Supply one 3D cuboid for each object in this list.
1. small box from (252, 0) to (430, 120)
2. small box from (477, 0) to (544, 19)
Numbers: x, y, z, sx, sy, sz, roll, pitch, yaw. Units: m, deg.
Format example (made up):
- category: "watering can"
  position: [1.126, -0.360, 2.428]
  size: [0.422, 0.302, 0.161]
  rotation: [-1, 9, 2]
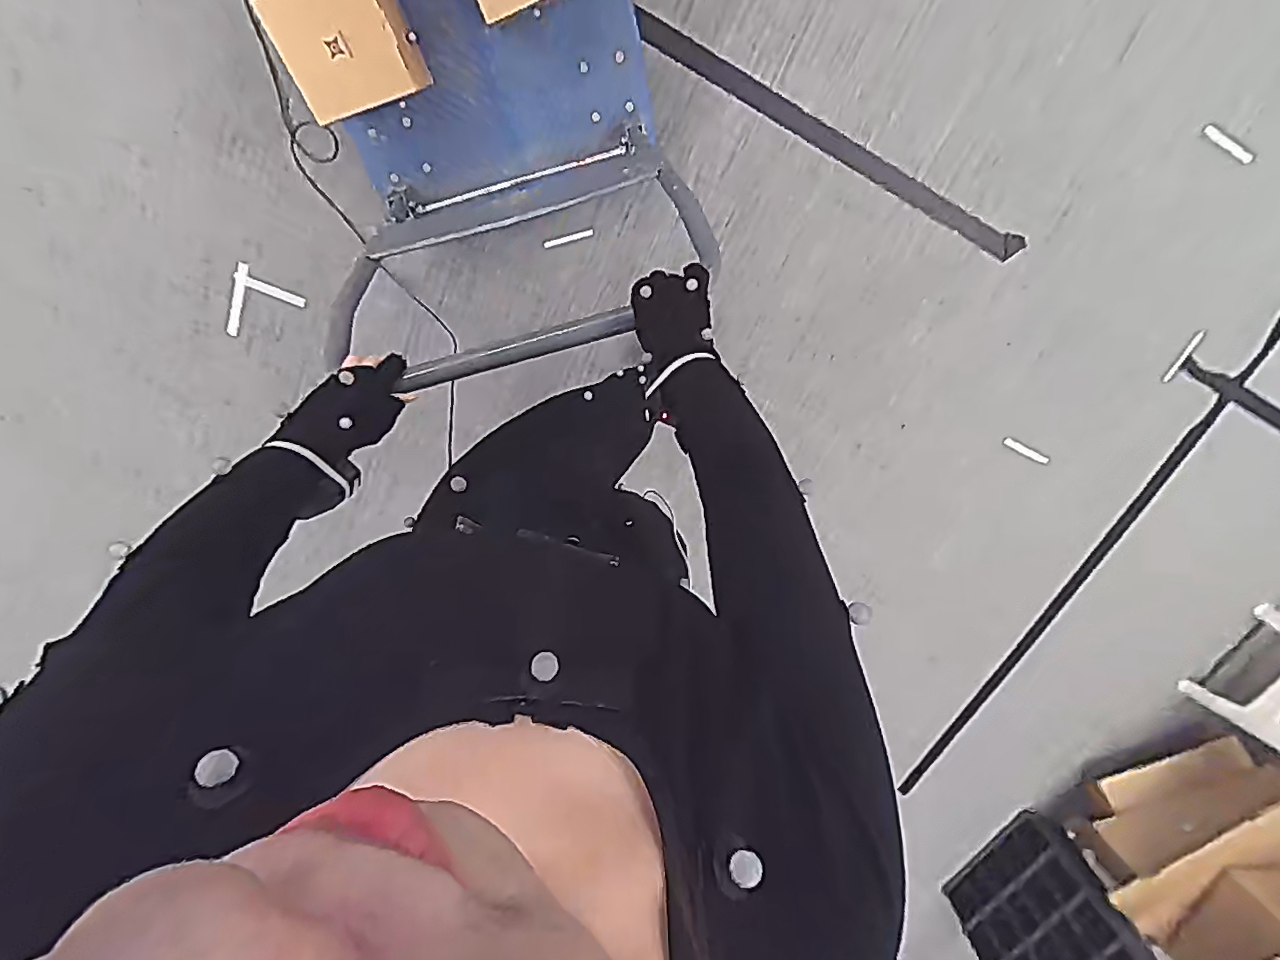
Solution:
- category: "small box"
  position: [-0.471, -0.716, 0.885]
  size: [0.179, 0.176, 0.168]
  rotation: [-18, 129, 4]
- category: "small box"
  position: [-0.190, -0.839, 0.827]
  size: [0.179, 0.176, 0.168]
  rotation: [-19, 130, 7]
